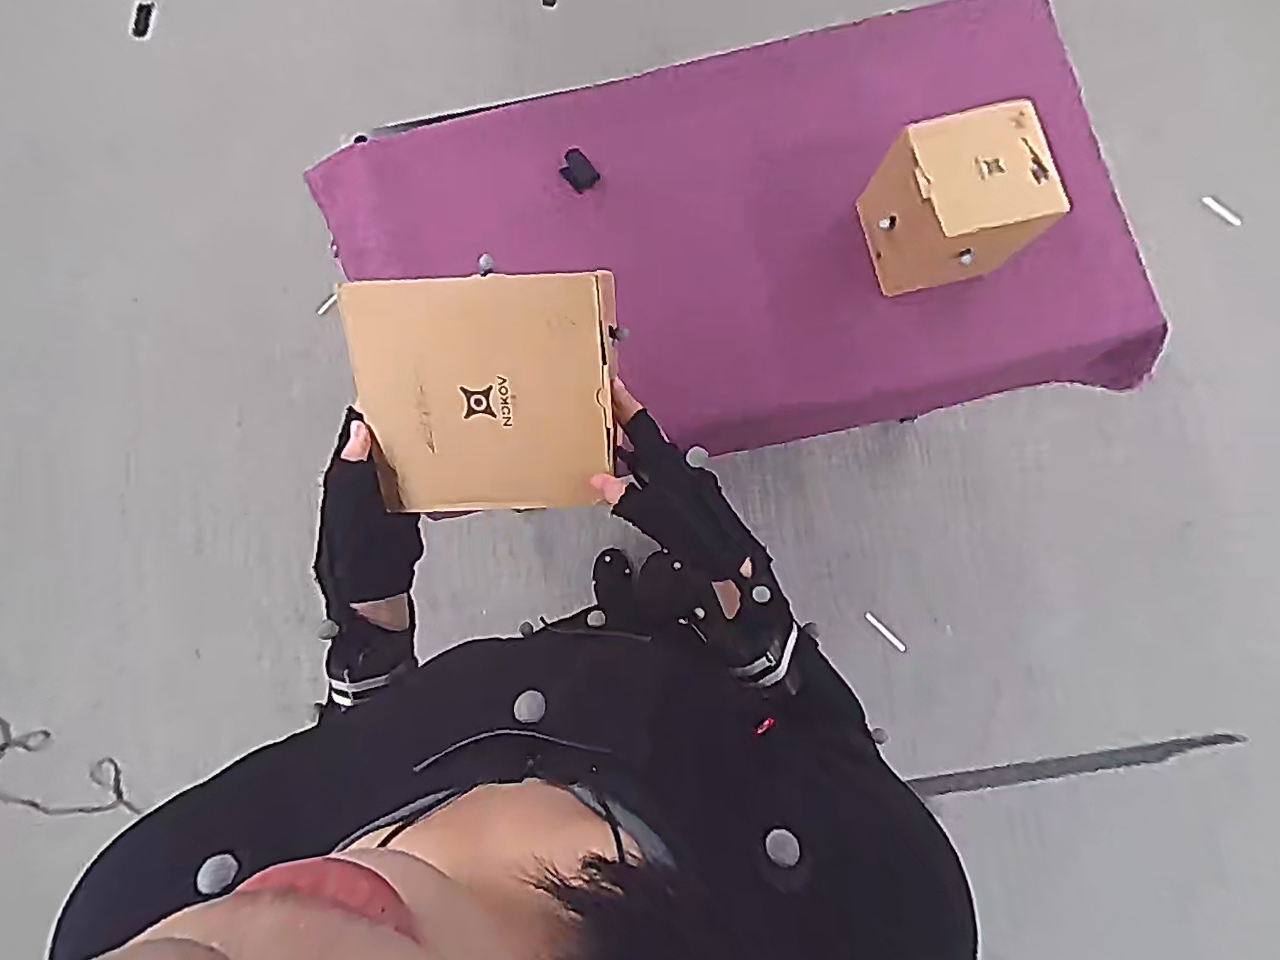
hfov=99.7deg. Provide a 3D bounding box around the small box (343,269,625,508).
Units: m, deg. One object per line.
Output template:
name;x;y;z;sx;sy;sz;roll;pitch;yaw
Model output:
small box;-0.102;-0.084;0.448;0.179;0.176;0.168;-2;109;2

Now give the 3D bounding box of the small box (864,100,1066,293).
small box;0.448;-0.396;0.784;0.179;0.176;0.168;-14;83;-1
